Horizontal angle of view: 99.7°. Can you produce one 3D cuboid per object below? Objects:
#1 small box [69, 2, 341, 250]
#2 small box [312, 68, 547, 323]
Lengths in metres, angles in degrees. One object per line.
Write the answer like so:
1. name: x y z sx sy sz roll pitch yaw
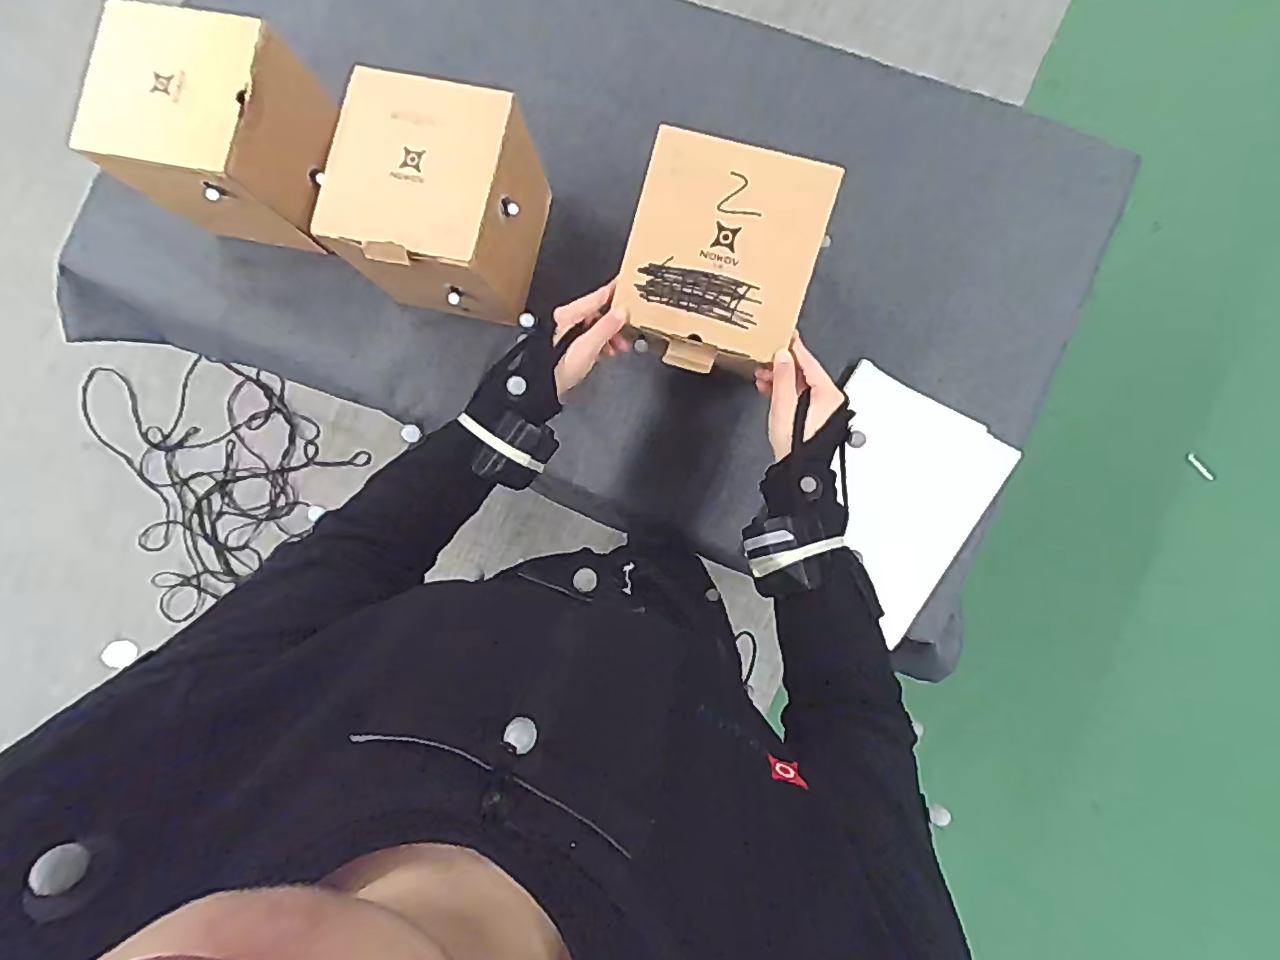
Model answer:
1. small box: -0.466 -0.387 0.619 0.179 0.176 0.168 11 86 4
2. small box: -0.212 -0.294 0.595 0.168 0.176 0.179 13 86 4
